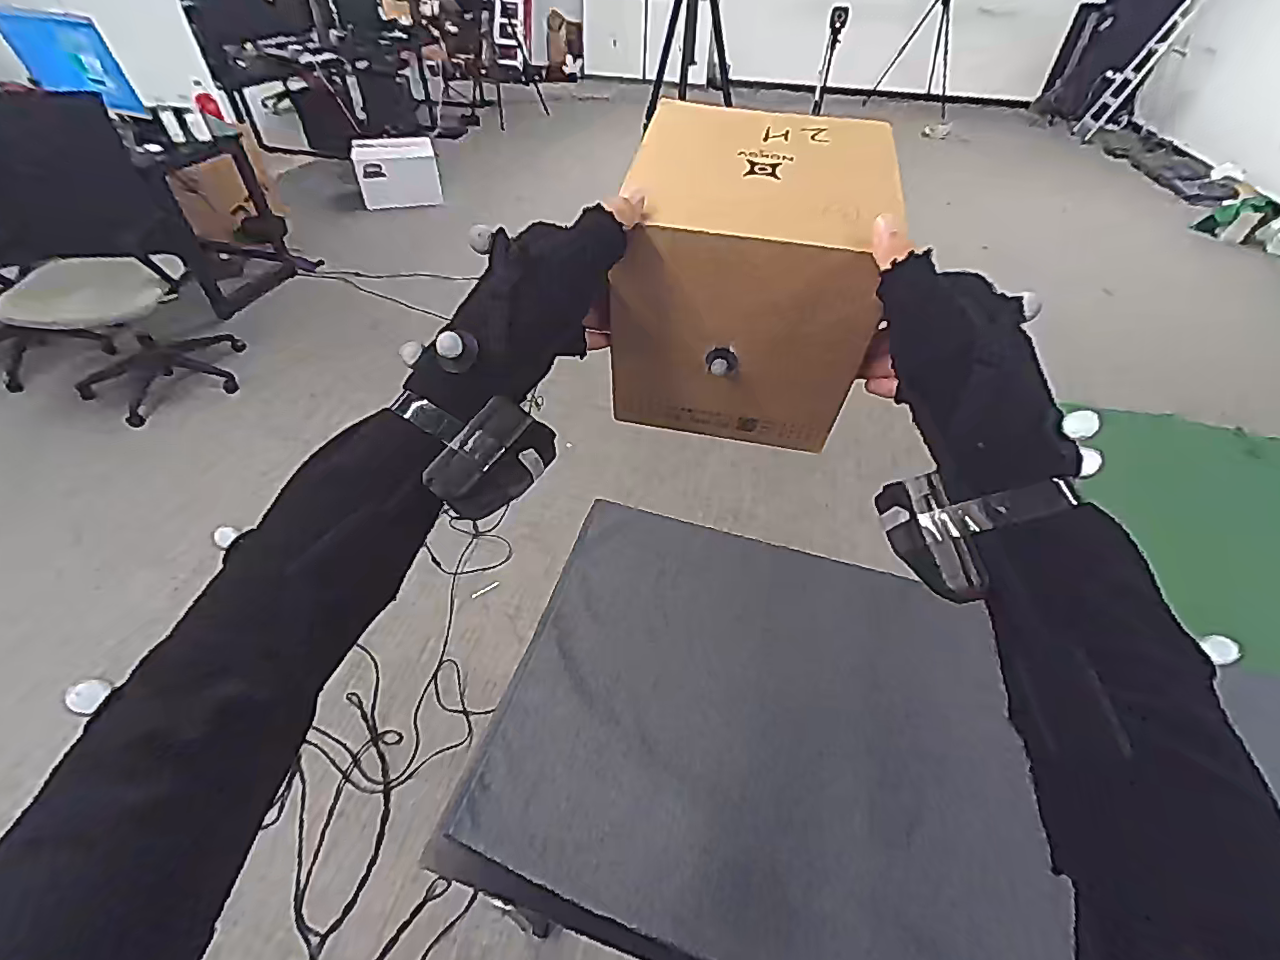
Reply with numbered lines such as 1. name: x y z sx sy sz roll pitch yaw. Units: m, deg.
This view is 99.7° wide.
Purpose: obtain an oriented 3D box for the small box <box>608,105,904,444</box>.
1. small box: 0.078 -0.150 0.409 0.168 0.176 0.179 10 54 6
